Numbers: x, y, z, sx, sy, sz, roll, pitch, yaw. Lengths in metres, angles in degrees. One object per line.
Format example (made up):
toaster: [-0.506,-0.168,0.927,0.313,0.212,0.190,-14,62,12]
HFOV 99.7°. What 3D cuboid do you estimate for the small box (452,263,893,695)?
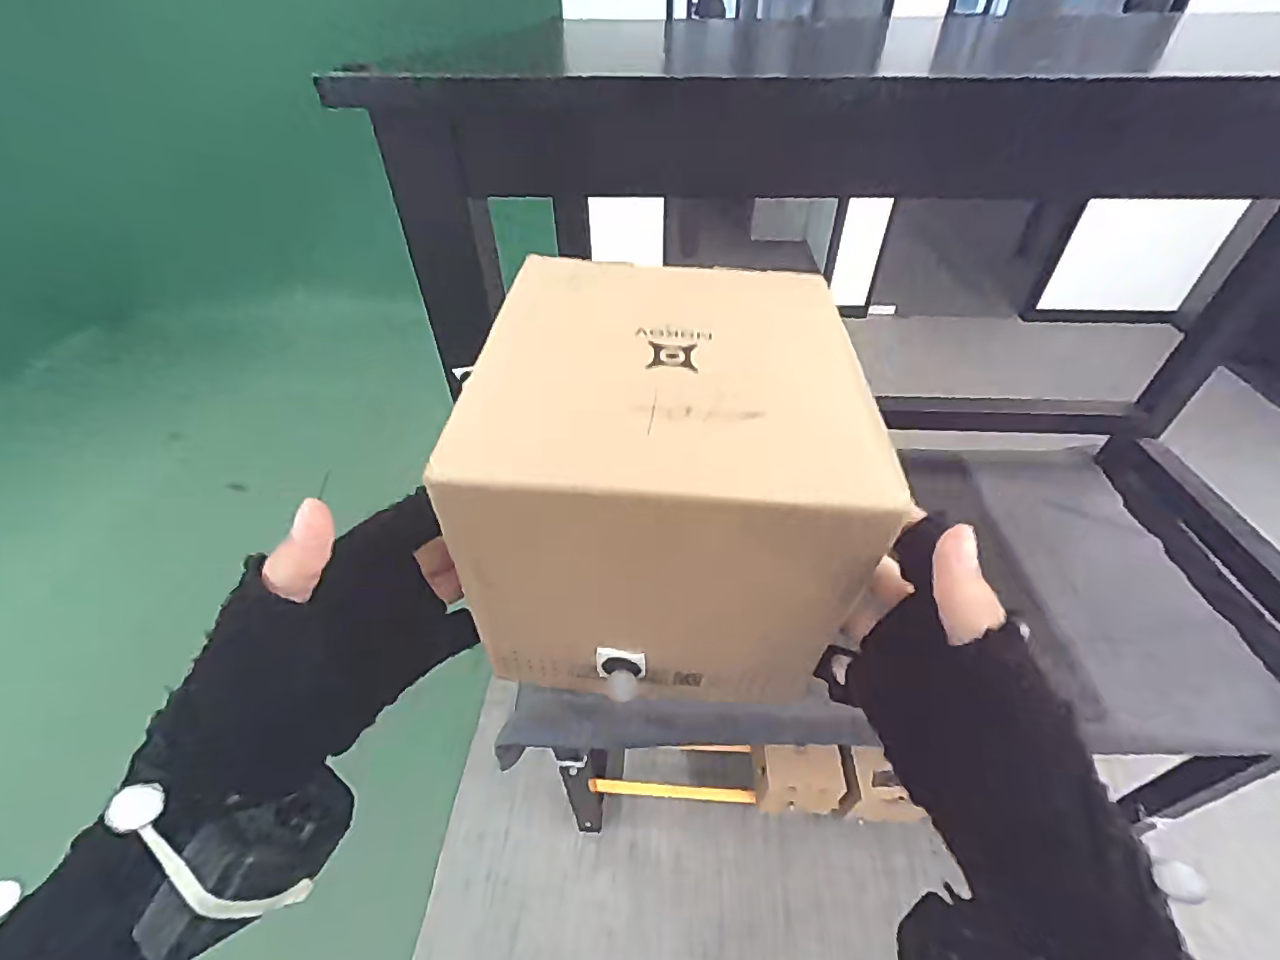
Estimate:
small box: [0.012,-0.001,0.311,0.168,0.176,0.179,4,46,1]
